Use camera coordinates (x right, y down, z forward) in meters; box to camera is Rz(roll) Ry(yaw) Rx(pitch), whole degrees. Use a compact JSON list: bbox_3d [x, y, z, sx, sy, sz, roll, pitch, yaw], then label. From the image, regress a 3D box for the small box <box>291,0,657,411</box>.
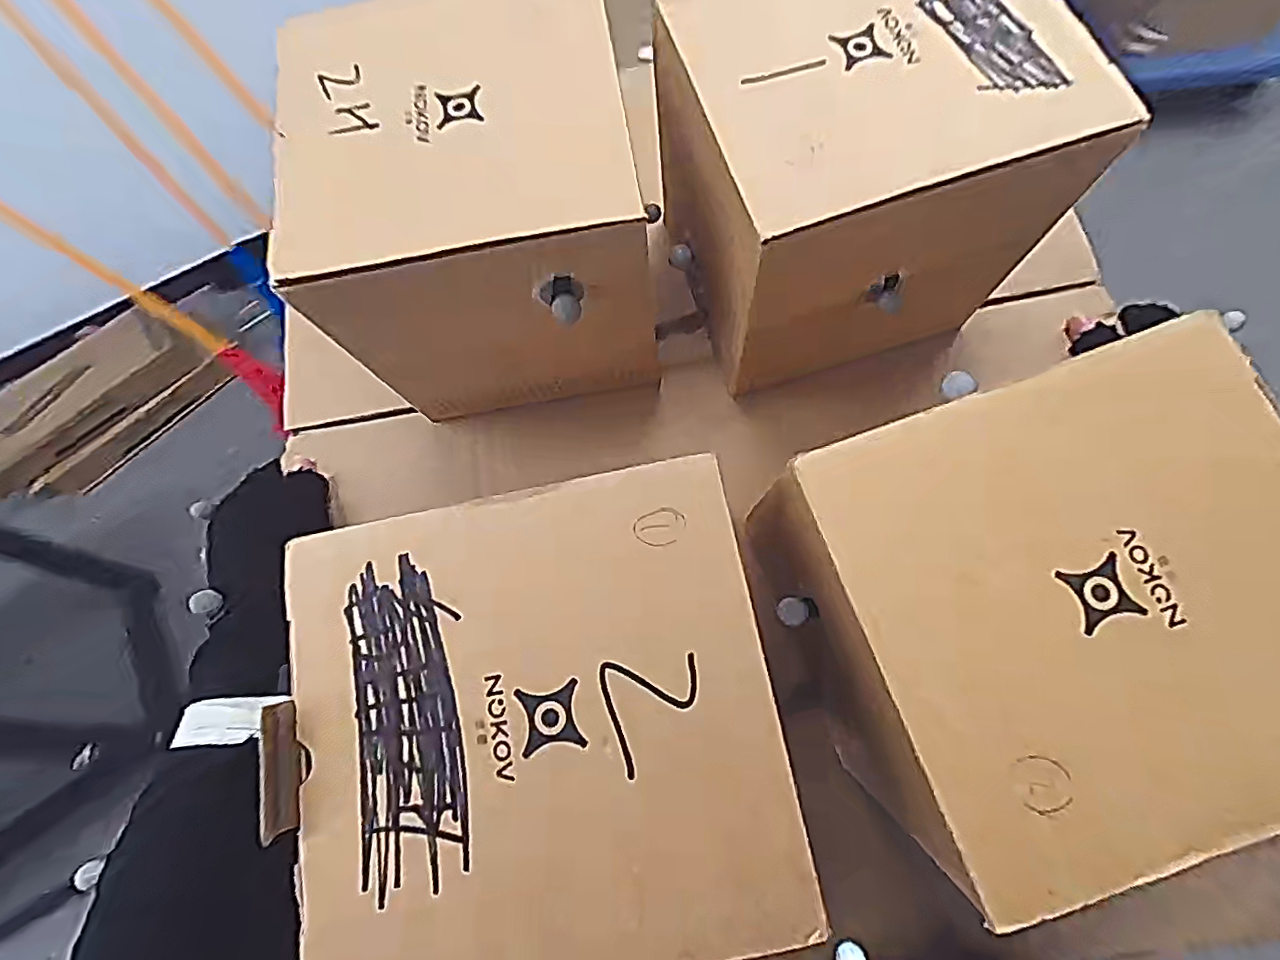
[{"bbox_3d":[-0.083,-0.158,0.350,0.179,0.176,0.168,-8,74,3],"label":"small box"}]
